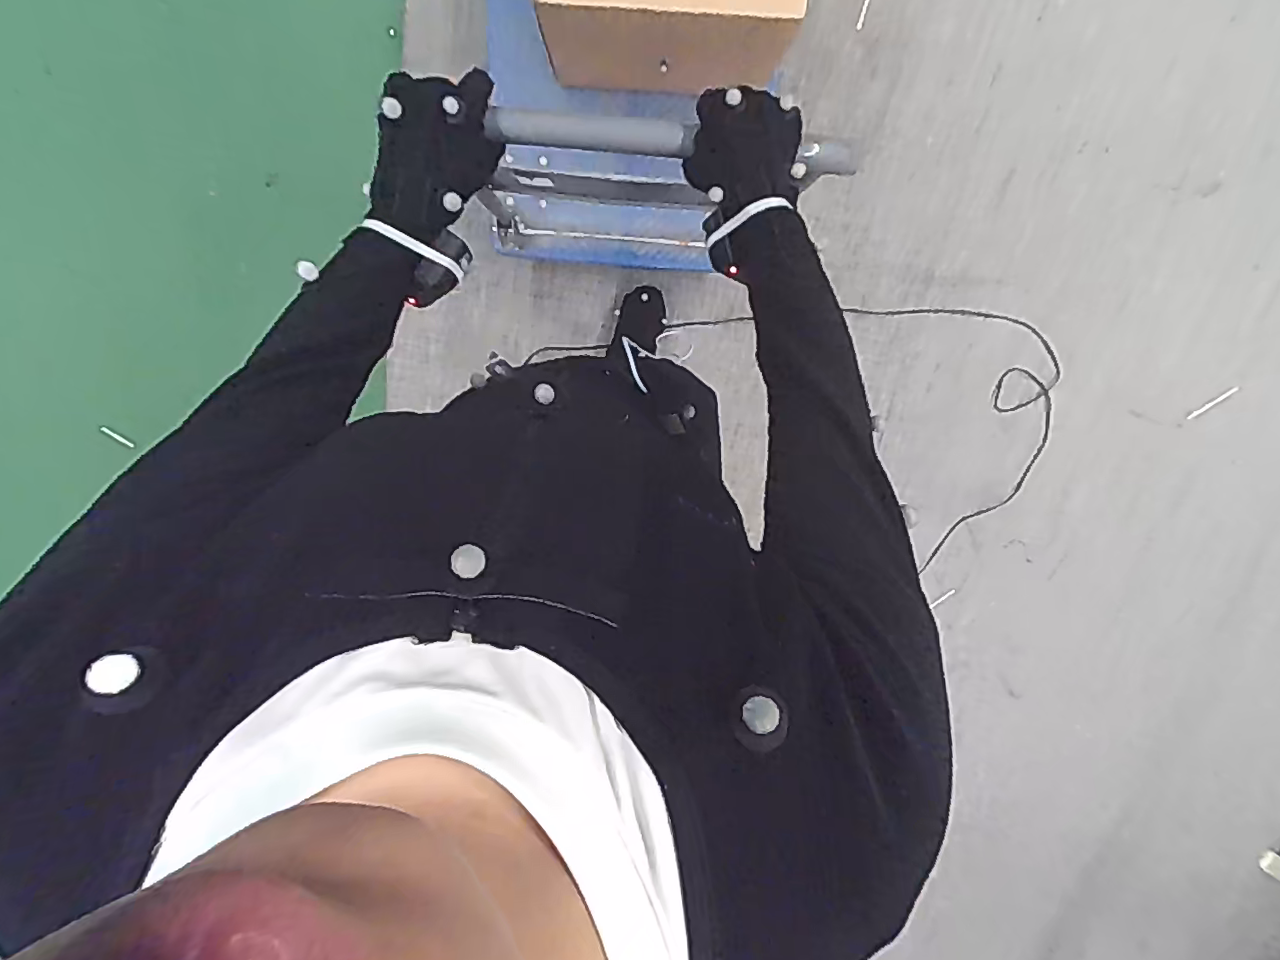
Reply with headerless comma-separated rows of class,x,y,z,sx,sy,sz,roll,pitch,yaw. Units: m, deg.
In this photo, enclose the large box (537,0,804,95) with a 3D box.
large box,0.052,-0.883,0.906,0.408,0.320,0.320,3,106,-1
